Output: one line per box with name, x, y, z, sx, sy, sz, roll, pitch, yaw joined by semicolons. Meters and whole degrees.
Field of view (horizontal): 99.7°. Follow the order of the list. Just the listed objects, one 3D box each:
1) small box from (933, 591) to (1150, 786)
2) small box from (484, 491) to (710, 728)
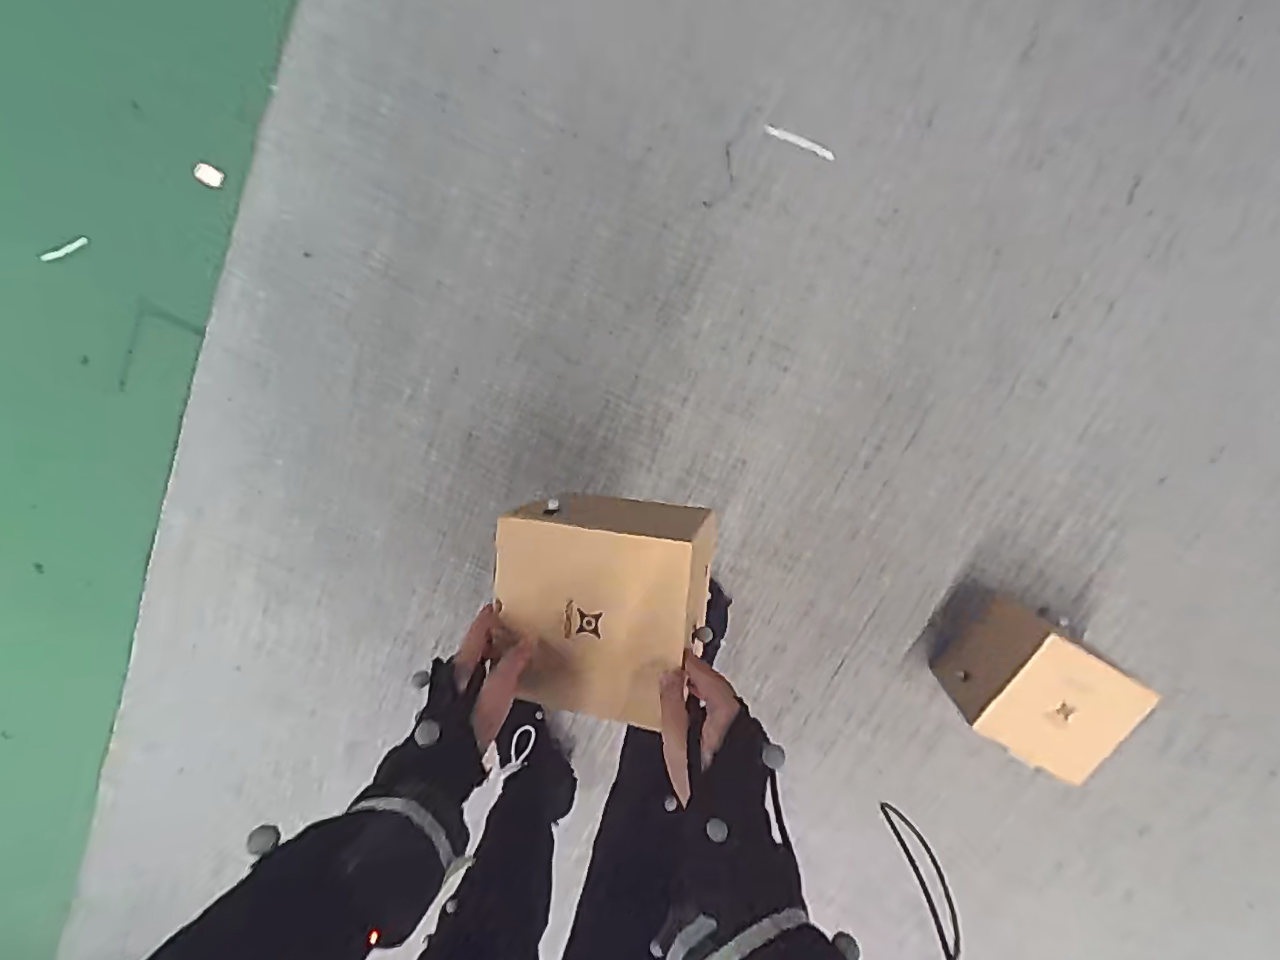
small box;0.578;0.300;0.814;0.168;0.176;0.179;31;102;2
small box;-0.030;0.106;0.526;0.179;0.176;0.168;5;97;15
